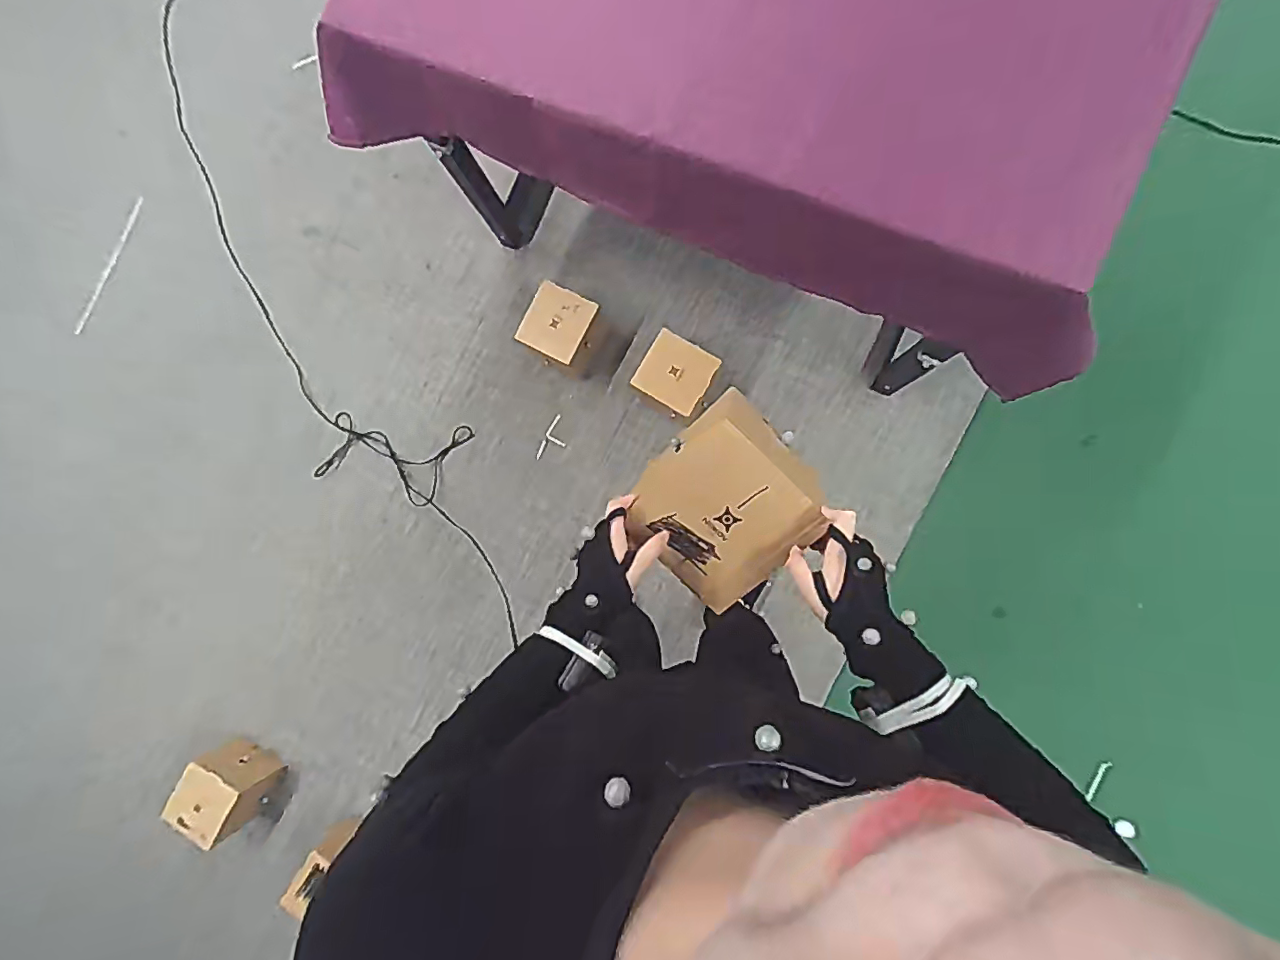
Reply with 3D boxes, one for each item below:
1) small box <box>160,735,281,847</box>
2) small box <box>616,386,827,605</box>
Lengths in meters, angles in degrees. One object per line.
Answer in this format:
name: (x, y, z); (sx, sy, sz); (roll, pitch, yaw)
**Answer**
small box: (-1.139, 0.842, 1.487); (0.168, 0.176, 0.179); (30, 90, 7)
small box: (0.101, 0.011, 0.663); (0.168, 0.176, 0.179); (43, 113, -6)
